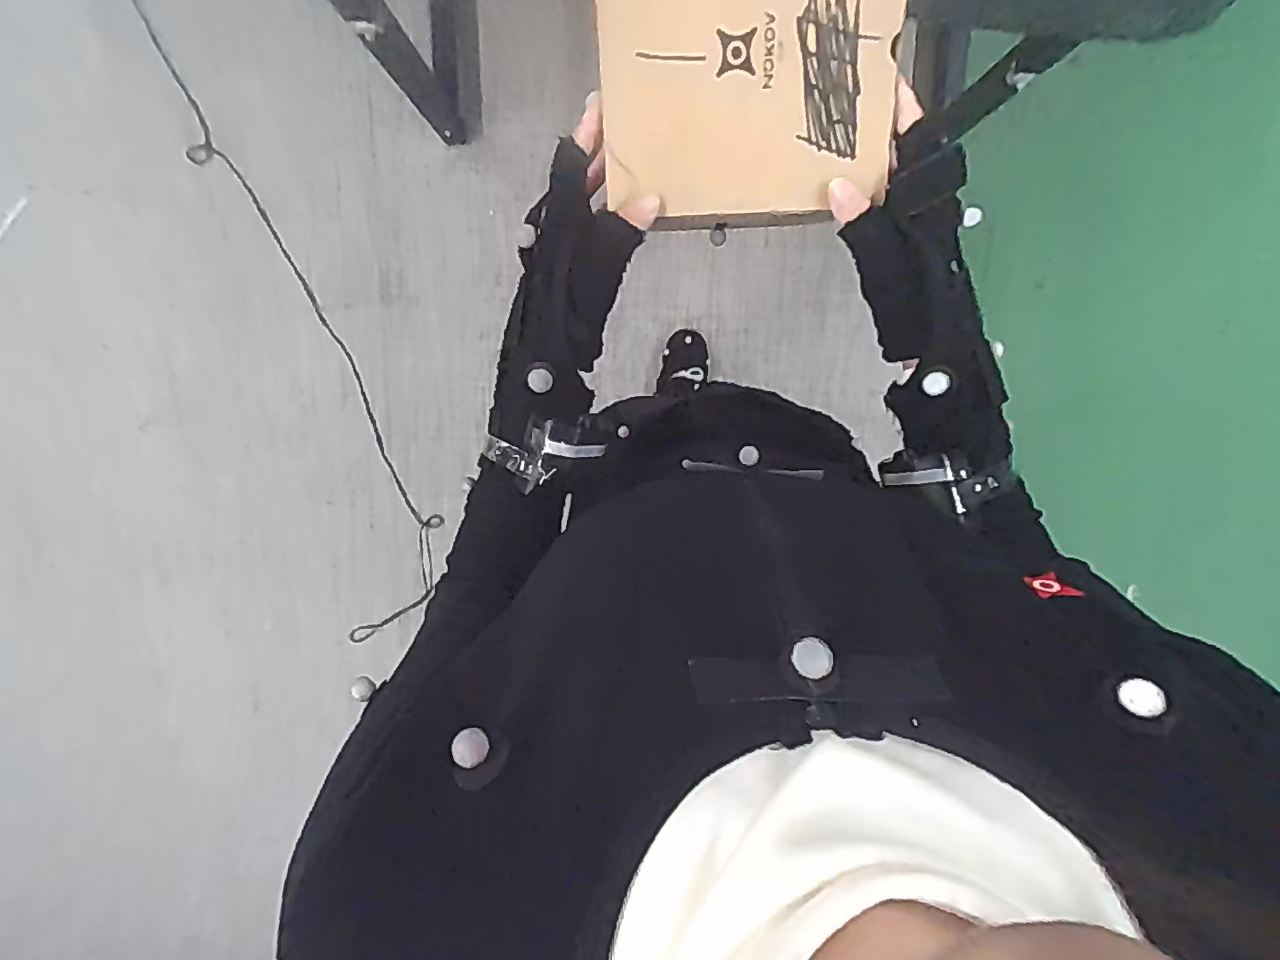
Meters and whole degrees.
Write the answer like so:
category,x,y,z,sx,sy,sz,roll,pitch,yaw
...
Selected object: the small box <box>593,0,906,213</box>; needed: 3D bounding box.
category,x,y,z,sx,sy,sz,roll,pitch,yaw
small box,0.062,-0.283,0.376,0.179,0.176,0.168,-2,113,3
